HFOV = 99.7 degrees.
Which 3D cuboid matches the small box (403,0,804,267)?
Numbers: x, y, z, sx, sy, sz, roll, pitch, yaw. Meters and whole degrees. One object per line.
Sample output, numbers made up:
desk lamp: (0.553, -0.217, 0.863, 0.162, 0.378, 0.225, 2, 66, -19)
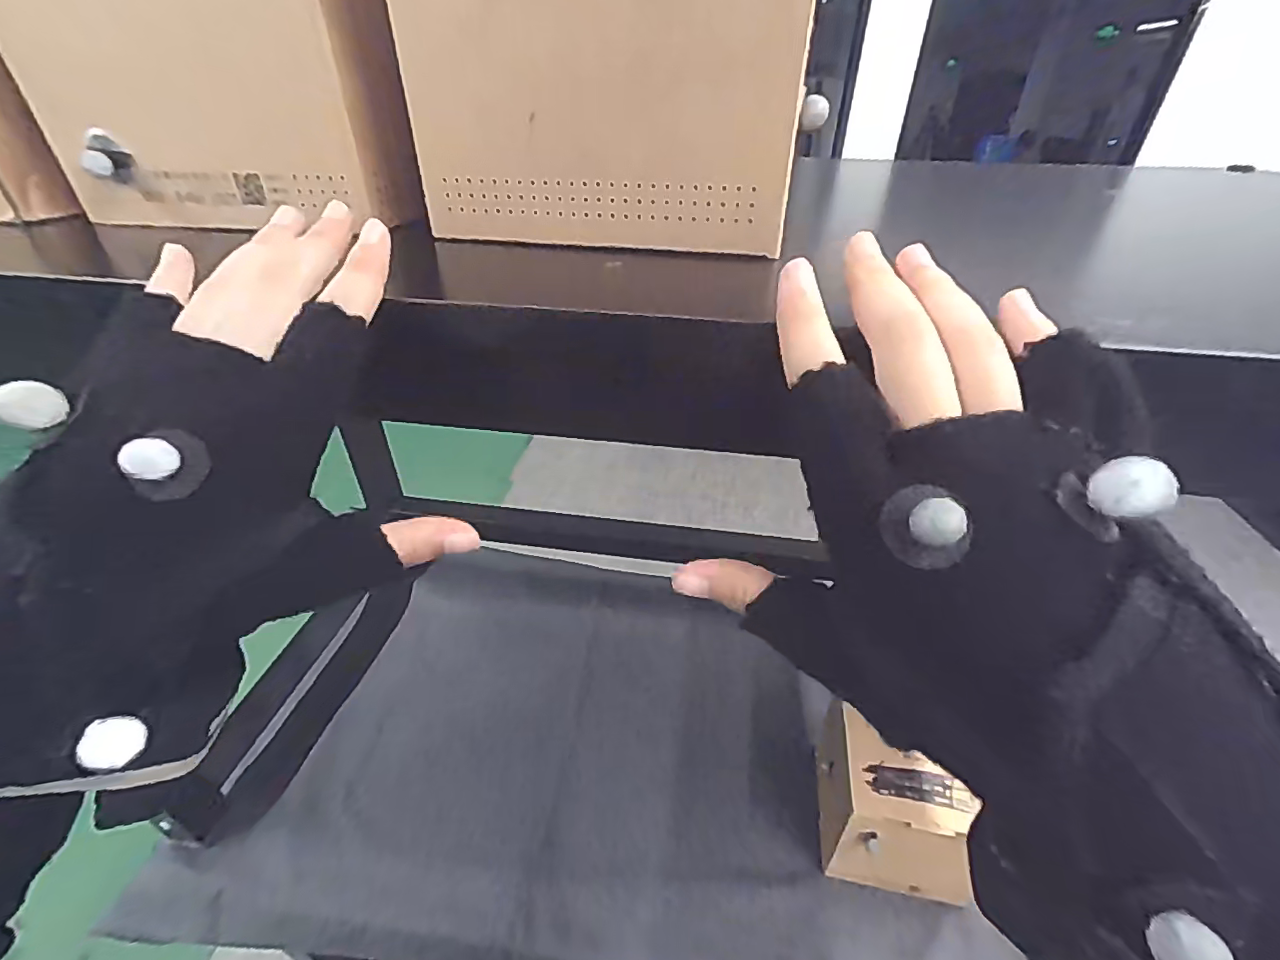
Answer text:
small box: (-0.008, -0.219, 0.286, 0.179, 0.176, 0.168, 8, 36, 9)
